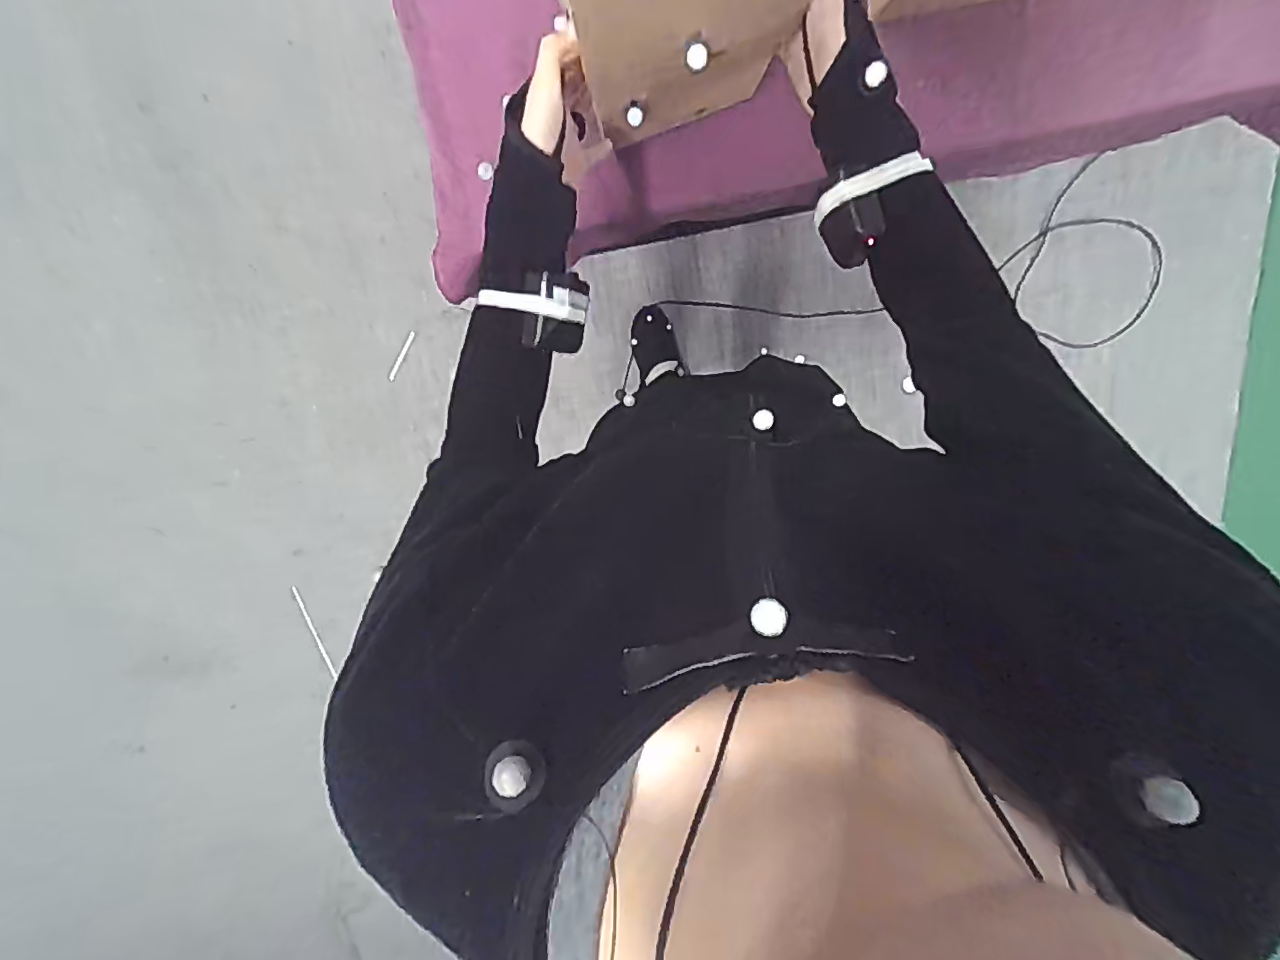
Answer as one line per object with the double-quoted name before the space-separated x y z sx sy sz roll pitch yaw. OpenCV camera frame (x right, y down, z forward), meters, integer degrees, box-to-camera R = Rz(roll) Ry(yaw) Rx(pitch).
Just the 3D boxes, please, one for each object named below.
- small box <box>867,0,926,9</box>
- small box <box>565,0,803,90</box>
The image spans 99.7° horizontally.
"small box" 0.316 -0.575 0.489 0.179 0.176 0.168 -10 107 1
"small box" 0.018 -0.386 0.330 0.168 0.176 0.179 -14 108 5
